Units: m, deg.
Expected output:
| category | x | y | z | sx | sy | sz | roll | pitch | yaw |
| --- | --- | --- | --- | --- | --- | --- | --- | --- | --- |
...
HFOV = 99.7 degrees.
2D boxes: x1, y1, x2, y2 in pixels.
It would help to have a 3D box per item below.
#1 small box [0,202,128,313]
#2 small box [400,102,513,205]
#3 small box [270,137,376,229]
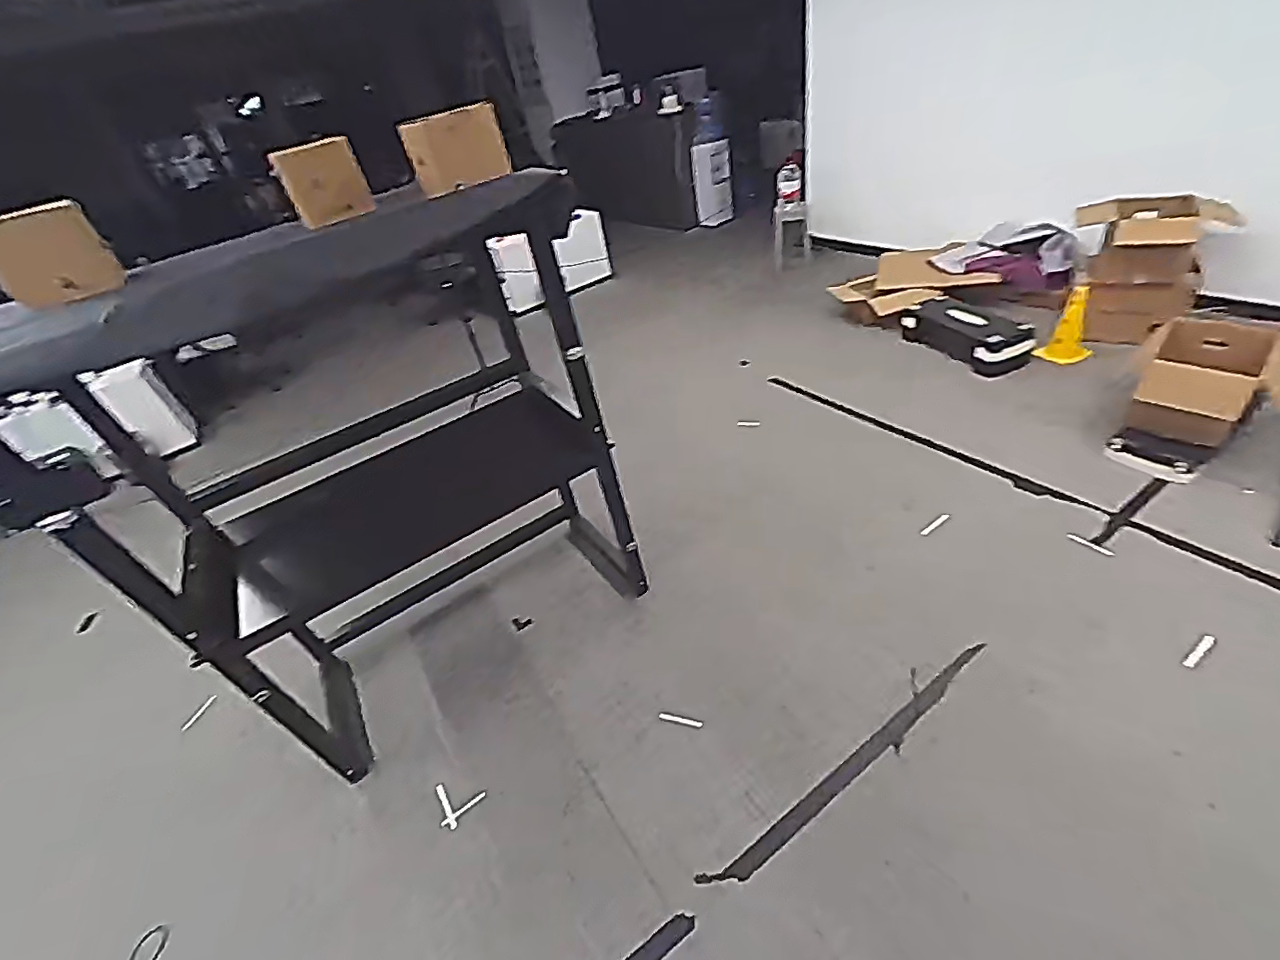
| category | x | y | z | sx | sy | sz | roll | pitch | yaw |
| --- | --- | --- | --- | --- | --- | --- | --- | --- | --- |
| small box | -1.266 | -0.482 | 1.168 | 0.179 | 0.176 | 0.168 | -30 | 41 | -22 |
| small box | -0.420 | -0.751 | 1.255 | 0.168 | 0.176 | 0.179 | -32 | 40 | -22 |
| small box | -0.803 | -0.756 | 1.378 | 0.168 | 0.176 | 0.179 | -31 | 41 | -21 |
